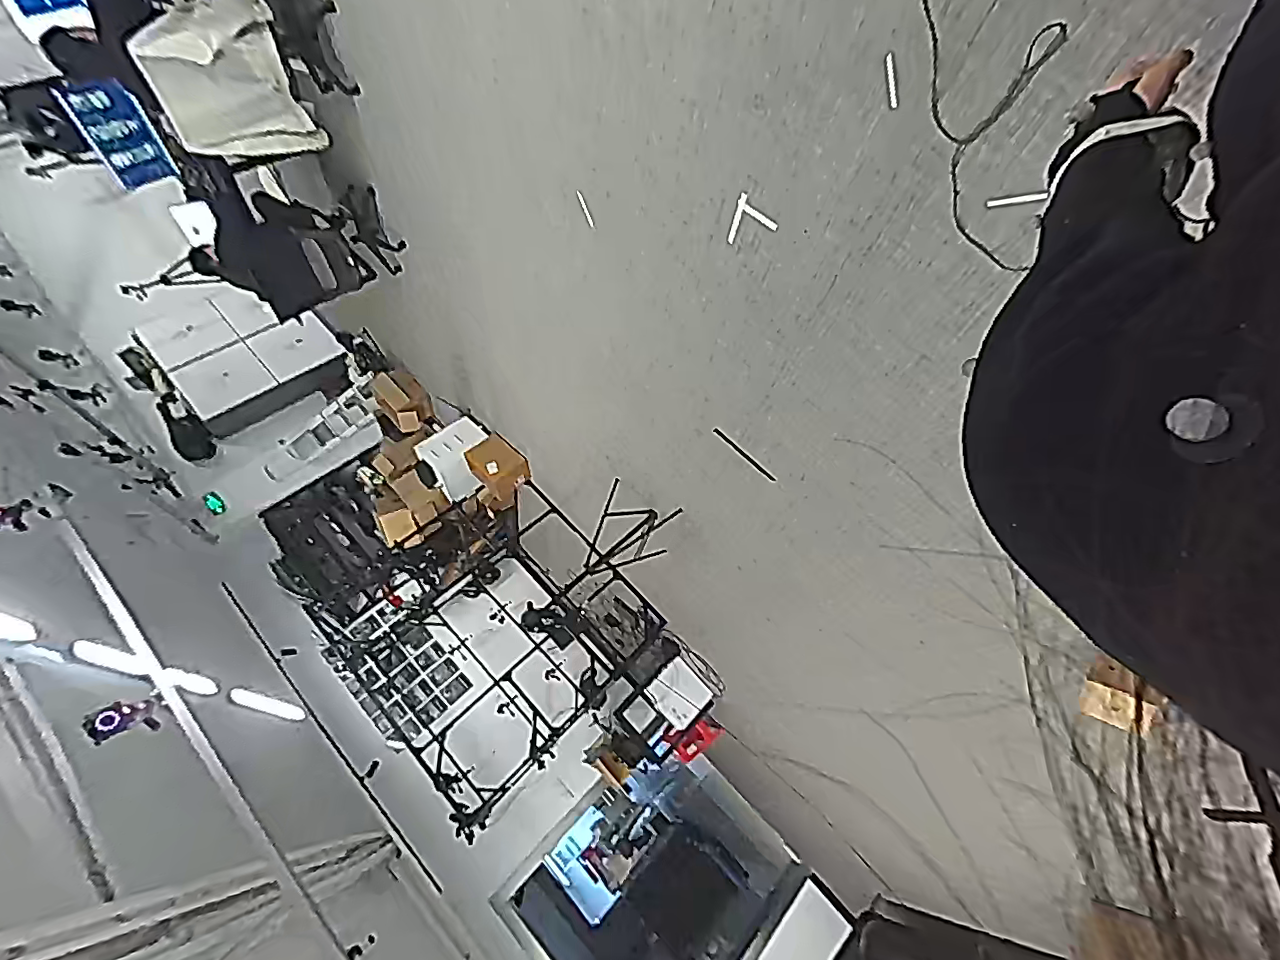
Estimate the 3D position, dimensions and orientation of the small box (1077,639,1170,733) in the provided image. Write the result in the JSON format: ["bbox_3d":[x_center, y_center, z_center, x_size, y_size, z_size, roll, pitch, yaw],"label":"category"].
[{"bbox_3d":[1.484,0.624,1.660,0.168,0.176,0.179,22,143,46],"label":"small box"}]
